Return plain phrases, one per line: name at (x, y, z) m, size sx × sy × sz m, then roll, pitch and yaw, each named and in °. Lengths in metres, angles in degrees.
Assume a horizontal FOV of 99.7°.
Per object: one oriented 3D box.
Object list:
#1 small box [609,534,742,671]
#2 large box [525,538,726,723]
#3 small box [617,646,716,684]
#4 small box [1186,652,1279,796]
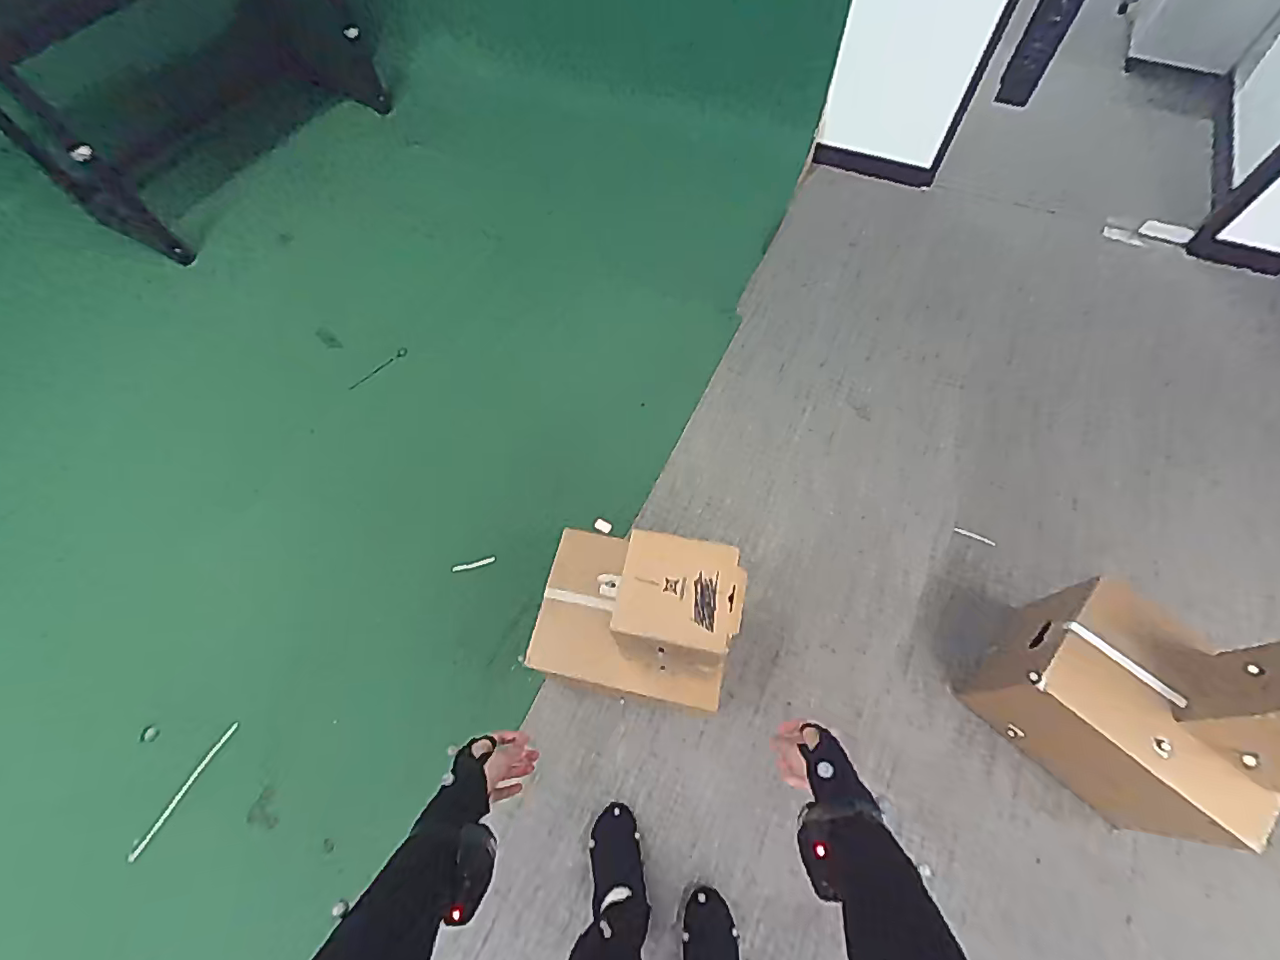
small box at (0.060, 0.207, 0.887) m, size 0.179 × 0.176 × 0.168 m, roll 10°, pitch 64°, yaw 9°
large box at (-0.002, 0.363, 1.271) m, size 0.408 × 0.320 × 0.320 m, roll 10°, pitch 63°, yaw 9°
small box at (0.067, 0.281, 1.034) m, size 0.179 × 0.176 × 0.168 m, roll 14°, pitch 64°, yaw 9°
small box at (1.112, 0.414, 0.926) m, size 0.179 × 0.176 × 0.168 m, roll -41°, pitch 68°, yaw -19°
